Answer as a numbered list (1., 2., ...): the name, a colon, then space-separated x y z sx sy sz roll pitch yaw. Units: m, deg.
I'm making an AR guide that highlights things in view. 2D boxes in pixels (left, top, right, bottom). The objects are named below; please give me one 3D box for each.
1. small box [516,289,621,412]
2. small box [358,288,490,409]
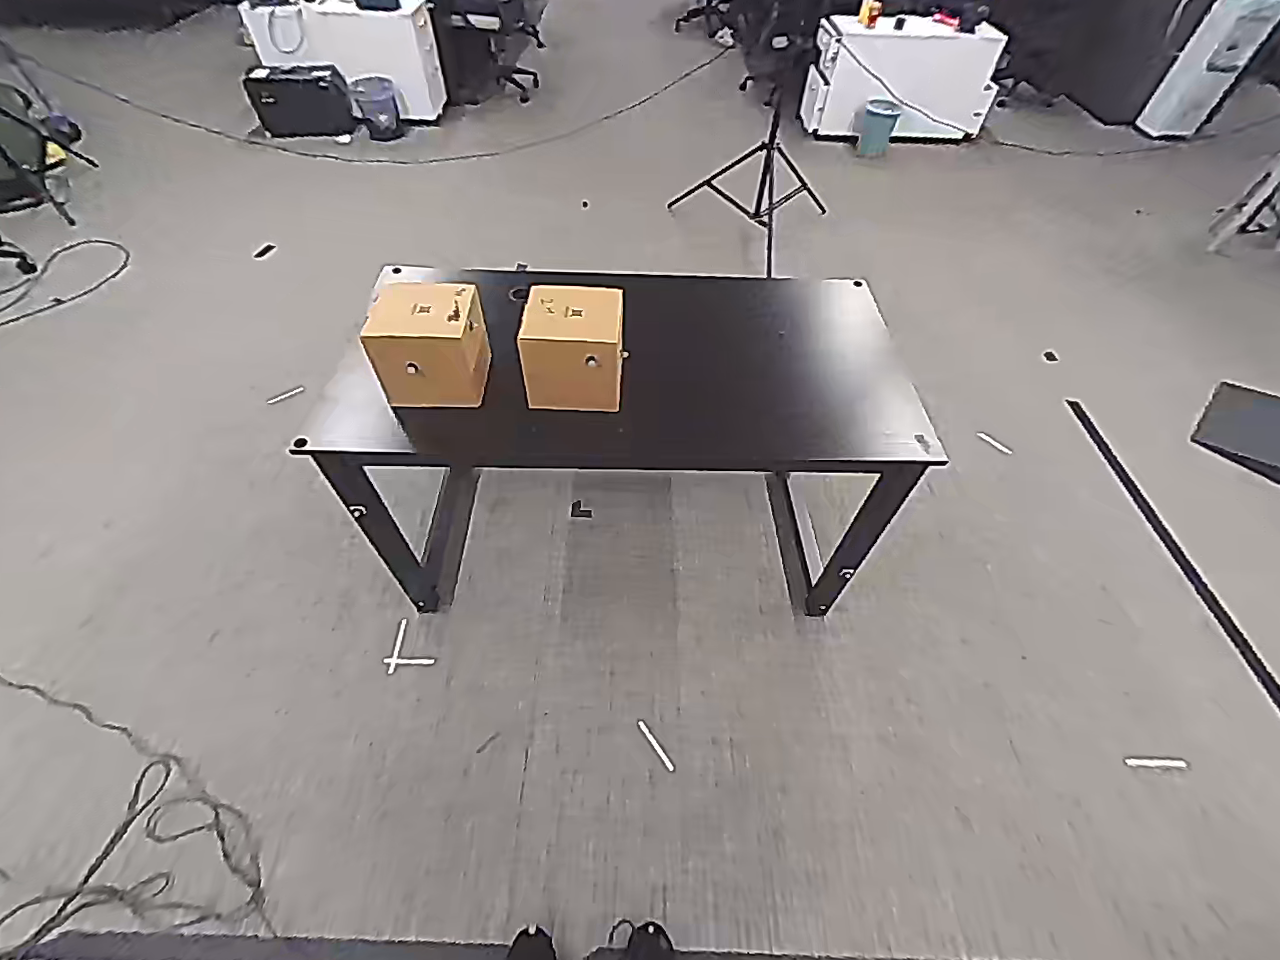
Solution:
1. small box: -0.128 -0.246 1.045 0.179 0.176 0.168 2 51 0
2. small box: -0.401 -0.249 1.039 0.179 0.176 0.168 -1 52 -2
